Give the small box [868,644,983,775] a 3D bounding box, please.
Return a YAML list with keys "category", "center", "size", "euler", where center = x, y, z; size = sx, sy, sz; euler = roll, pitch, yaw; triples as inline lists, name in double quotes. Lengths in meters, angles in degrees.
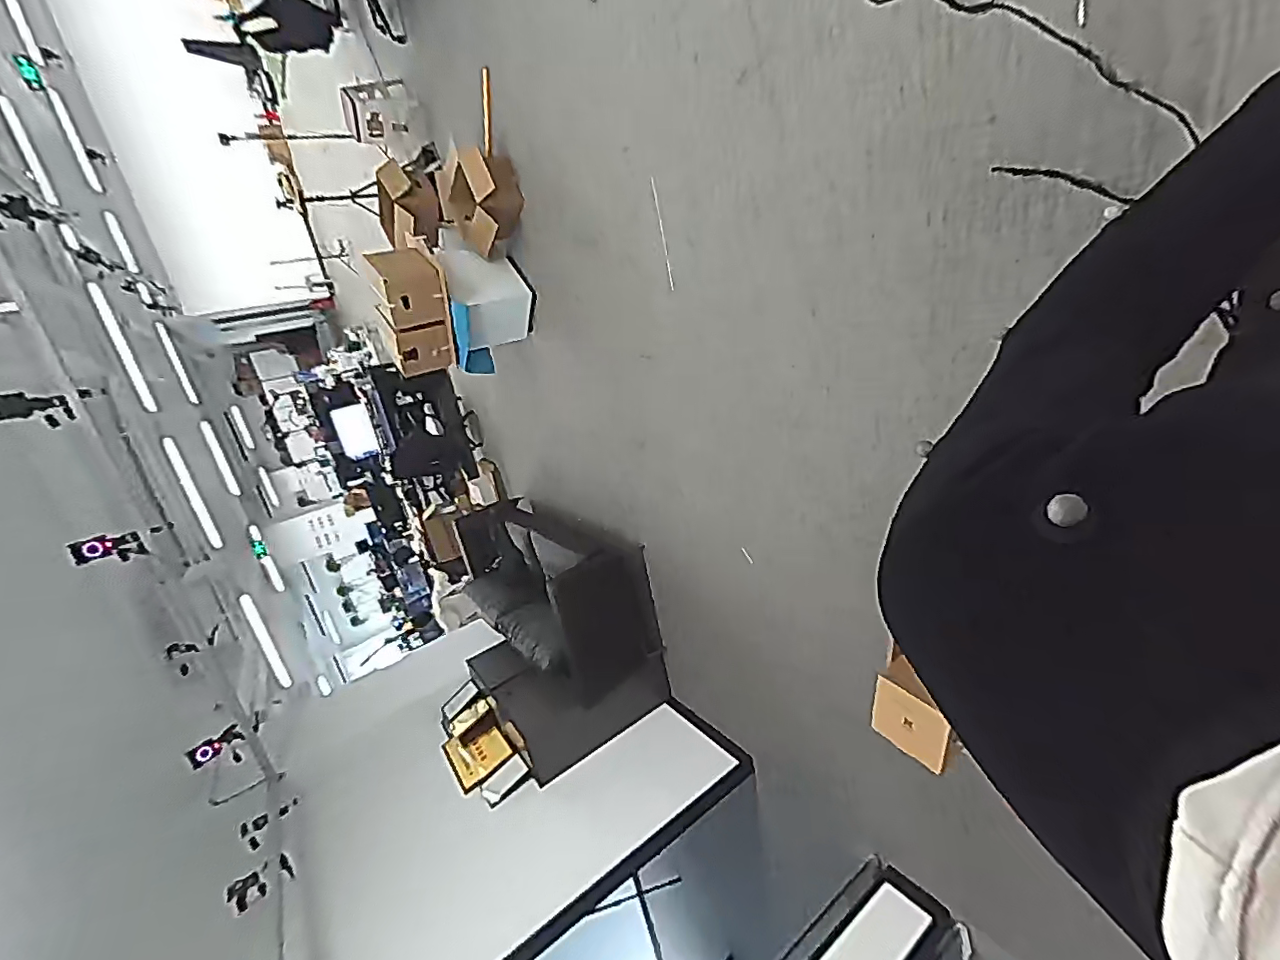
- category: "small box"
  center: [0.649, 0.514, 1.233]
  size: [0.168, 0.176, 0.179]
  euler: [27, 131, 47]
